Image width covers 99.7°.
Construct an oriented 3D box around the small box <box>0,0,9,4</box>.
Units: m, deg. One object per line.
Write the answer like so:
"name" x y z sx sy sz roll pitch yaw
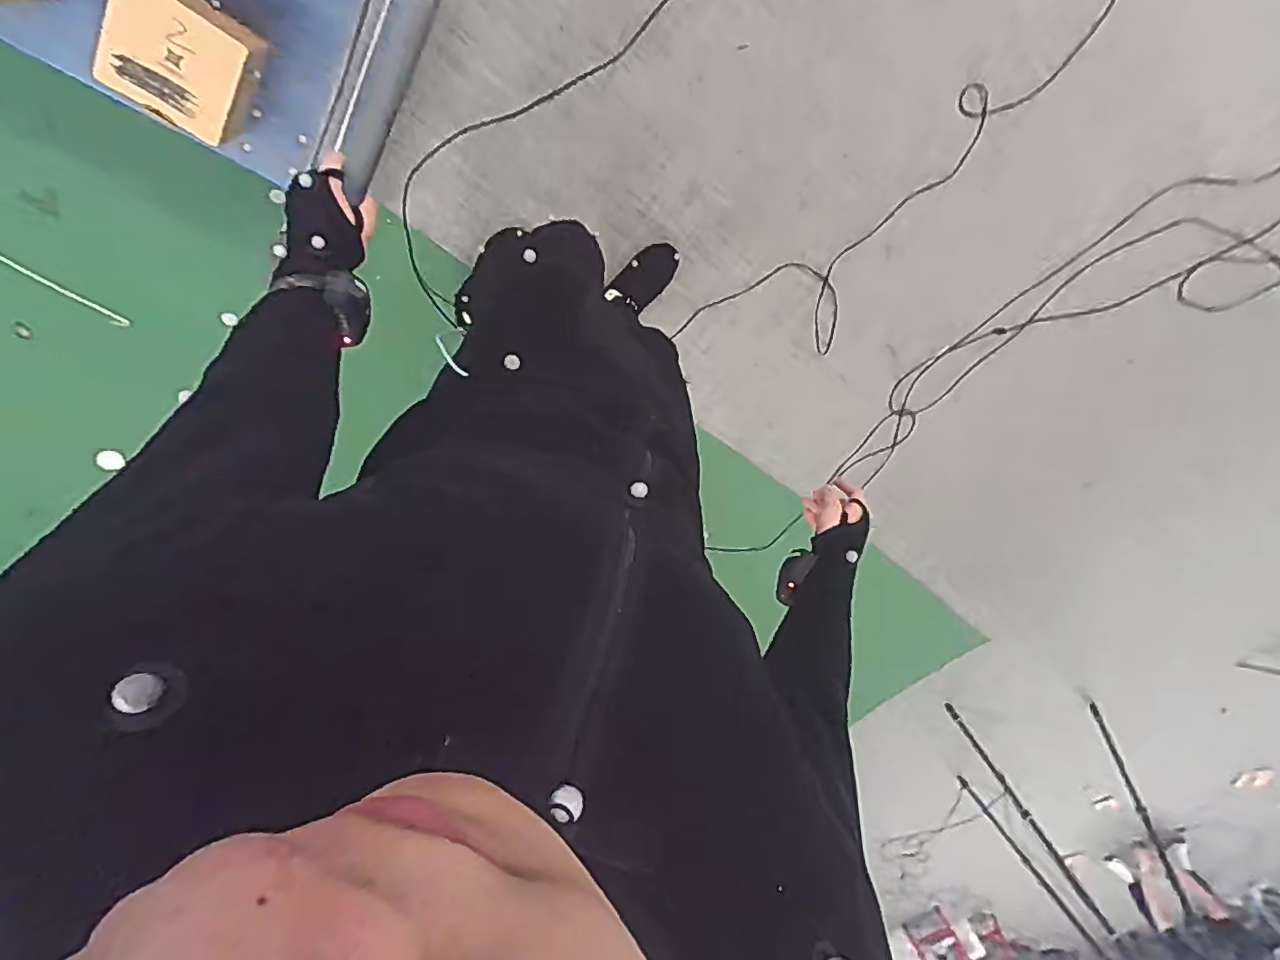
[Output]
"small box" -0.966 -0.809 0.744 0.179 0.176 0.168 17 121 -31
